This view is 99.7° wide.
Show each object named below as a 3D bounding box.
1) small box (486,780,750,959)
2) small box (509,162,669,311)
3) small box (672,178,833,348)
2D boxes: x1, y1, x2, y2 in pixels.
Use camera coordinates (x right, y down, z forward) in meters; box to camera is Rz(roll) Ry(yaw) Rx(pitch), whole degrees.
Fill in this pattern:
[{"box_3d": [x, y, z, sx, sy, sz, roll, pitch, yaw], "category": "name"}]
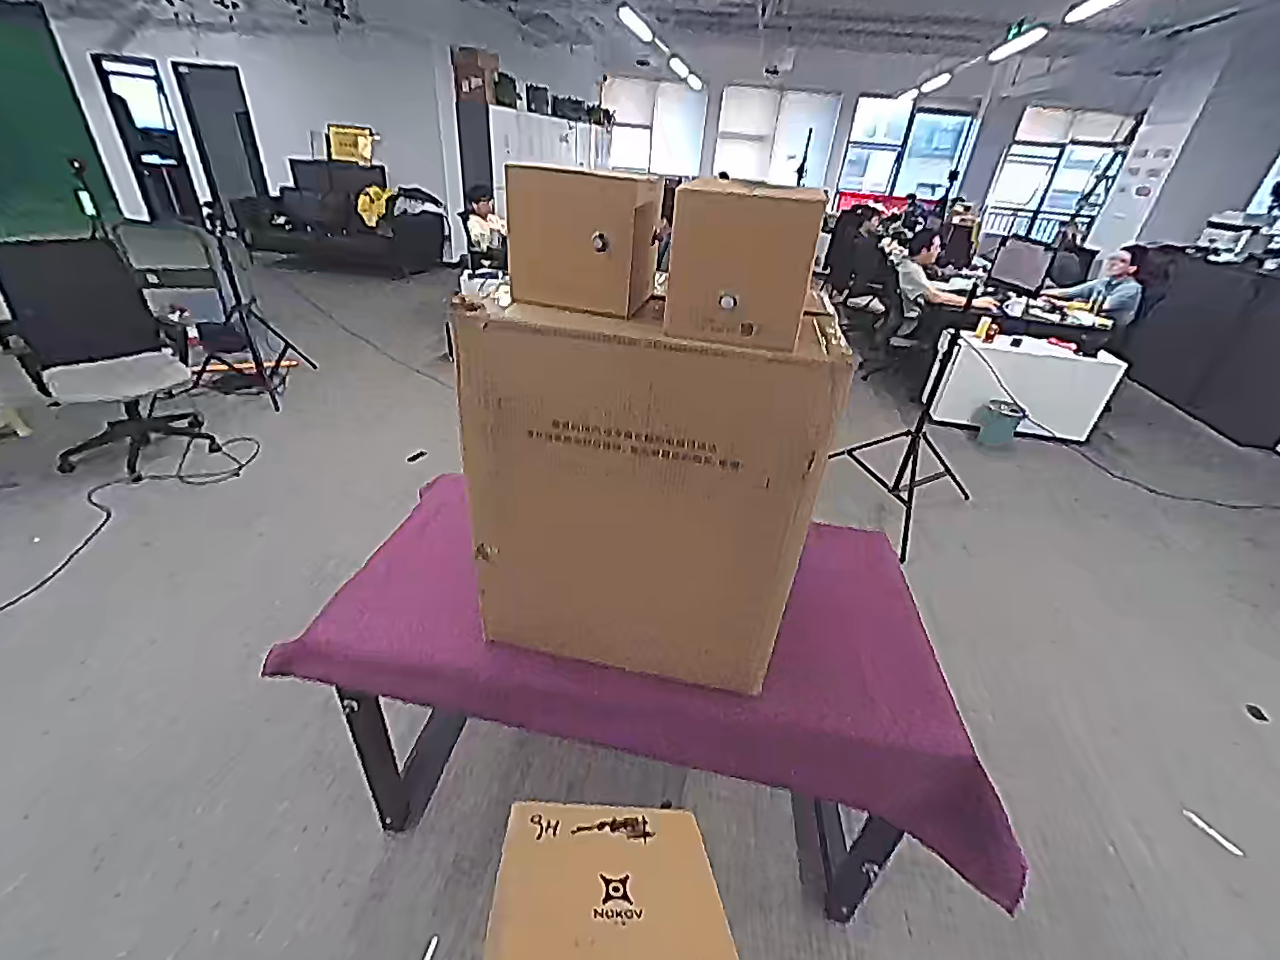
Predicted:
[{"box_3d": [-0.029, 0.364, 0.404, 0.168, 0.176, 0.179, 10, 13, -10], "category": "small box"}, {"box_3d": [-0.067, -0.344, 0.762, 0.179, 0.176, 0.168, 11, 31, 9], "category": "small box"}, {"box_3d": [0.139, -0.282, 0.691, 0.168, 0.176, 0.179, 10, 32, 10], "category": "small box"}]
